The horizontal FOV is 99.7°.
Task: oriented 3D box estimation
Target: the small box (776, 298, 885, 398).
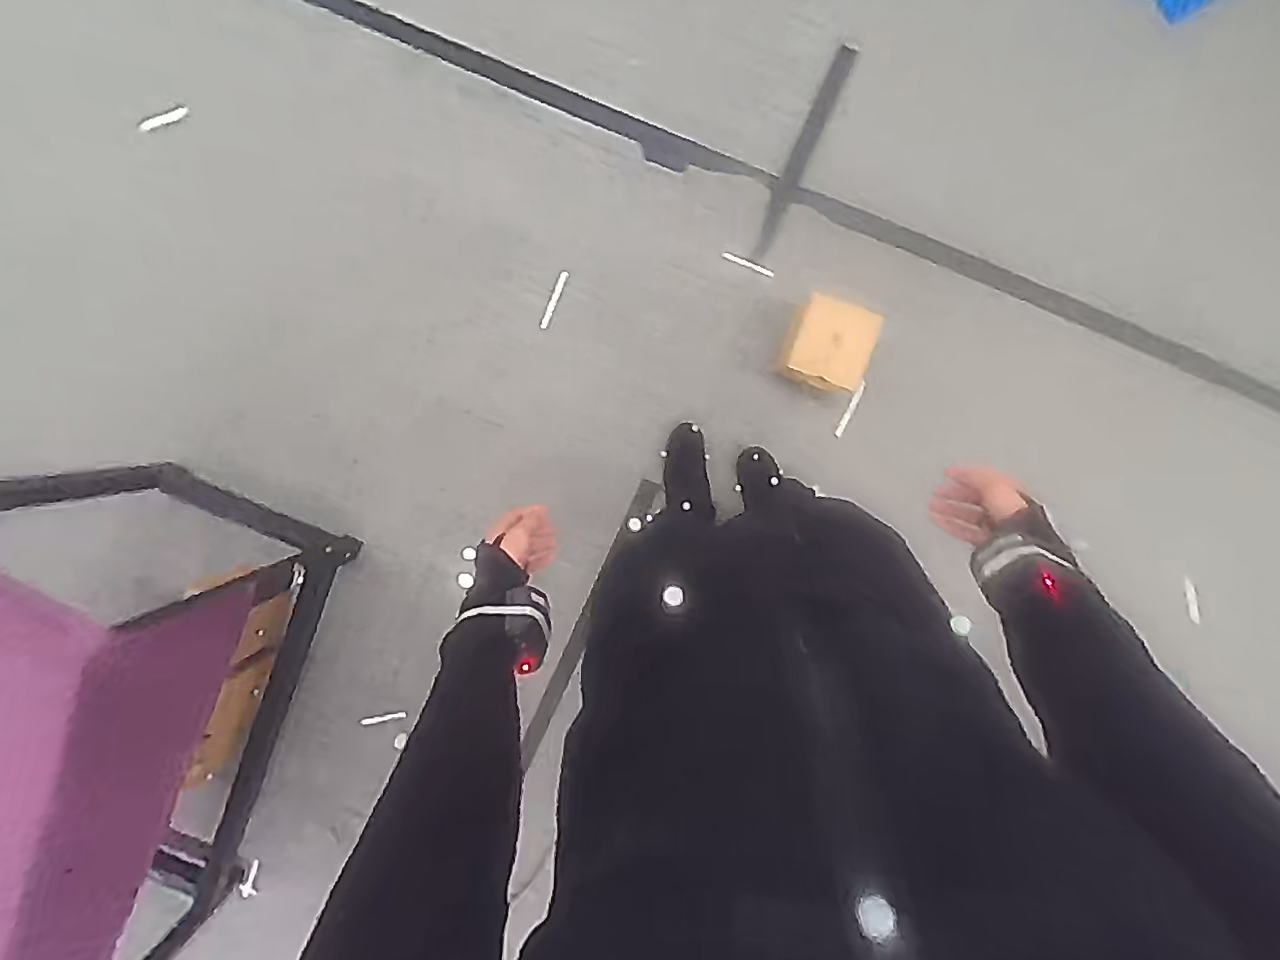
[{"bbox_3d":[0.437,-0.302,1.272,0.168,0.176,0.179,20,99,0],"label":"small box"}]
